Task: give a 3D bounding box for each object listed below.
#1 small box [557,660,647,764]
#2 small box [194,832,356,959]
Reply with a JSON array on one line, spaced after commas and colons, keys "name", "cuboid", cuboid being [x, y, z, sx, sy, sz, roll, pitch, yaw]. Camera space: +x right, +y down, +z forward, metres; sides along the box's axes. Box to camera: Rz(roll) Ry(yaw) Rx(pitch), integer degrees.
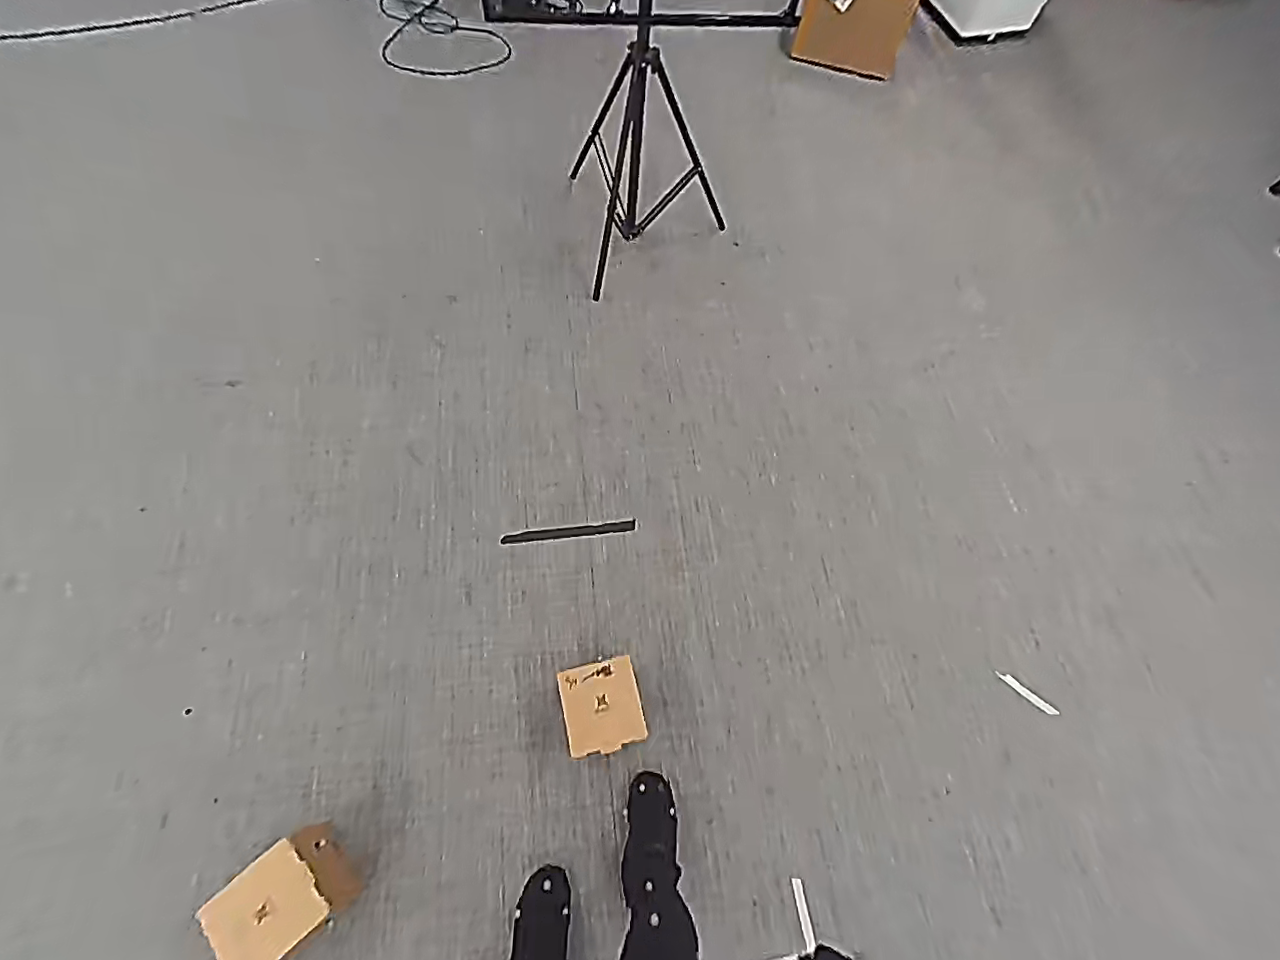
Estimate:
[{"name": "small box", "cuboid": [-0.087, 0.517, 1.215, 0.168, 0.176, 0.179, -11, 67, -10]}, {"name": "small box", "cuboid": [-0.678, 0.814, 1.033, 0.179, 0.176, 0.168, -40, 73, -19]}]
